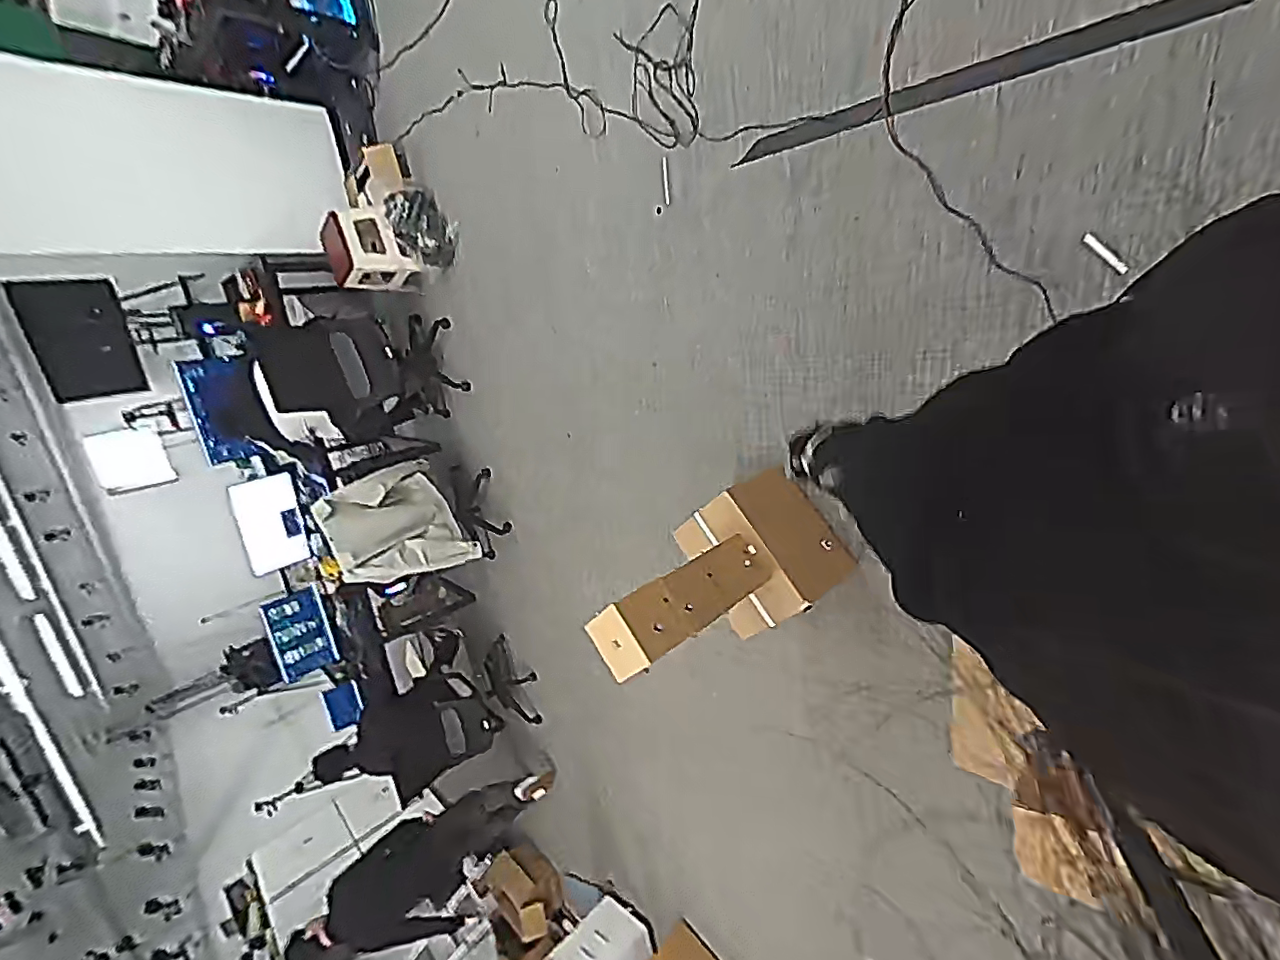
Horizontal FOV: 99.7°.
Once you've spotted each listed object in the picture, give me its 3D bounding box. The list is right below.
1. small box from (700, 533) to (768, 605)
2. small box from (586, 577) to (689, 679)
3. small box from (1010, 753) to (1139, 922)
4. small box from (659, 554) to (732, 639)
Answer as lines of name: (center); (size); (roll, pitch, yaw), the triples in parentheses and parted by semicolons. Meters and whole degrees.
small box: (0.236, 0.281, 1.573); (0.168, 0.176, 0.179); (56, 138, 14)
small box: (0.000, 0.369, 1.364); (0.168, 0.176, 0.179); (56, 139, 14)
small box: (0.833, 0.665, 1.034); (0.168, 0.176, 0.179); (-3, 105, 48)
small box: (0.117, 0.328, 1.470); (0.168, 0.176, 0.179); (56, 139, 14)
